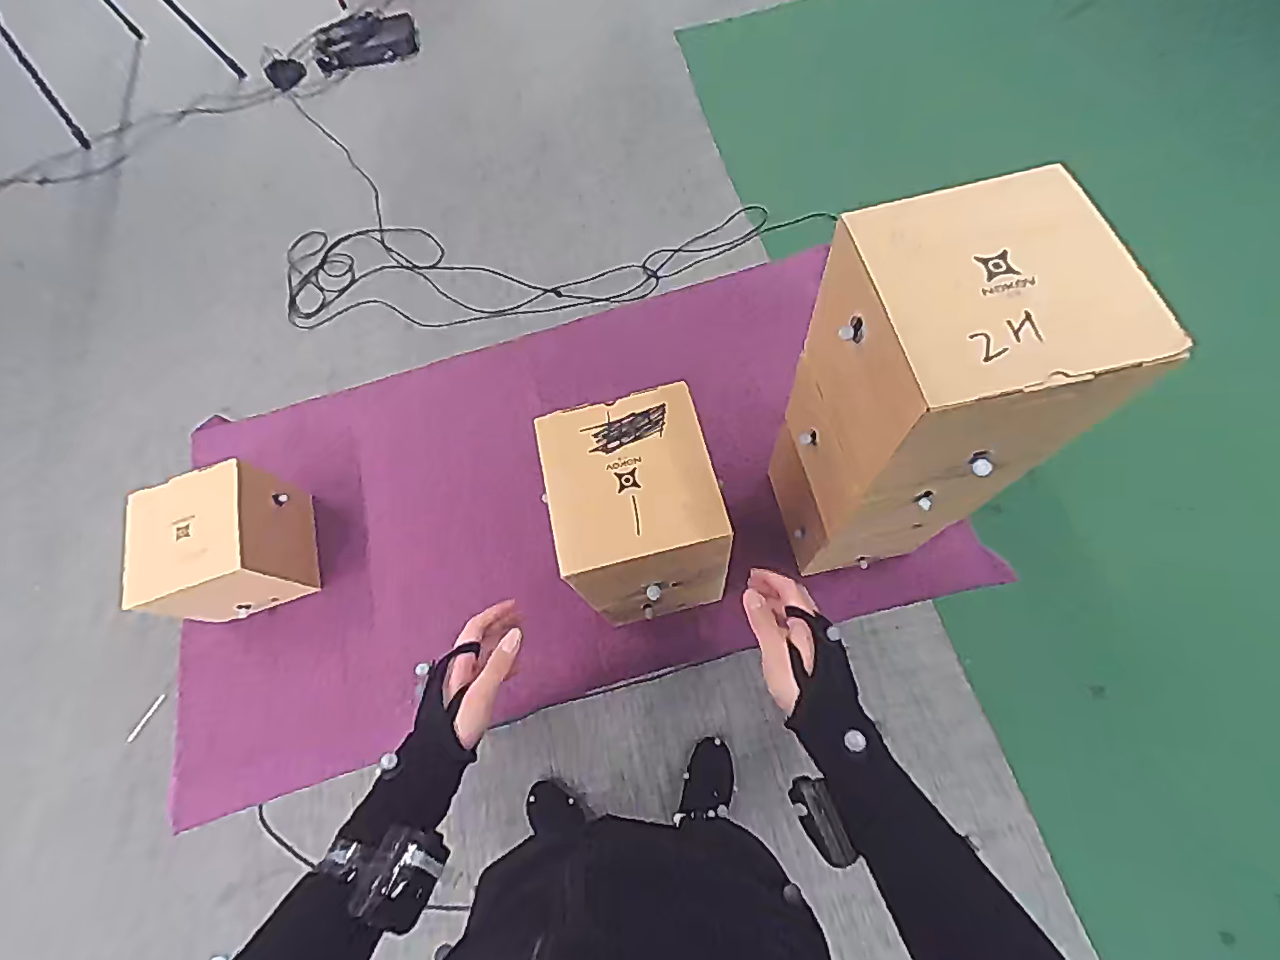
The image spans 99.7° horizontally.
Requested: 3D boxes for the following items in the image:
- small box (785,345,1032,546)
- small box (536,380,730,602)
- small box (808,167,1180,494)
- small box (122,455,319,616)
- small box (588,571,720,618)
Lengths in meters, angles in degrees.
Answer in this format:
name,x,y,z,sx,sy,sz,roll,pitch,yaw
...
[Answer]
name,x,y,z,sx,sy,sz,roll,pitch,yaw
small box,0.268,-0.045,0.594,0.168,0.176,0.179,-13,66,3
small box,-0.005,0.021,0.602,0.168,0.176,0.179,-14,66,1
small box,0.250,-0.108,0.443,0.168,0.176,0.179,-12,68,3
small box,-0.621,0.092,0.820,0.168,0.176,0.179,-19,69,-1
small box,0.012,0.086,0.753,0.168,0.176,0.179,-15,66,1
